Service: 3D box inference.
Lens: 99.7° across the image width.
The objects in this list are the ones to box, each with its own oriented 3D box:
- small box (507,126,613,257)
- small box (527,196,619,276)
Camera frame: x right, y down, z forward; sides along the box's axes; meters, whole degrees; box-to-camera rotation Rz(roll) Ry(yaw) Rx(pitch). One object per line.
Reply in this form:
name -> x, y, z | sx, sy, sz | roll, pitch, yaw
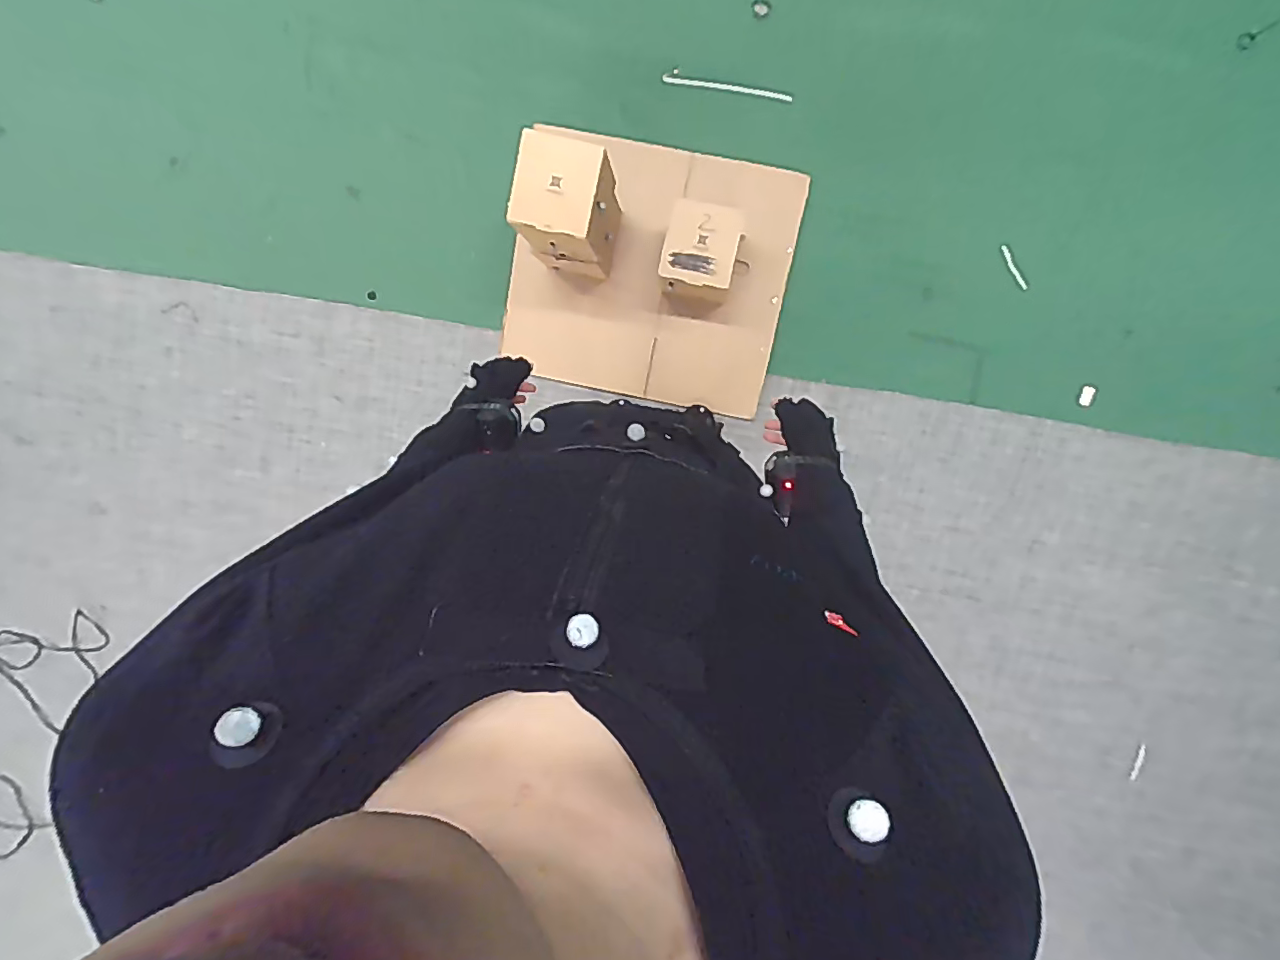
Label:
small box -> -0.158, -0.588, 1.123 | 0.168, 0.176, 0.179 | 14, 100, 2
small box -> -0.153, -0.602, 1.285 | 0.168, 0.176, 0.179 | 13, 99, 3
